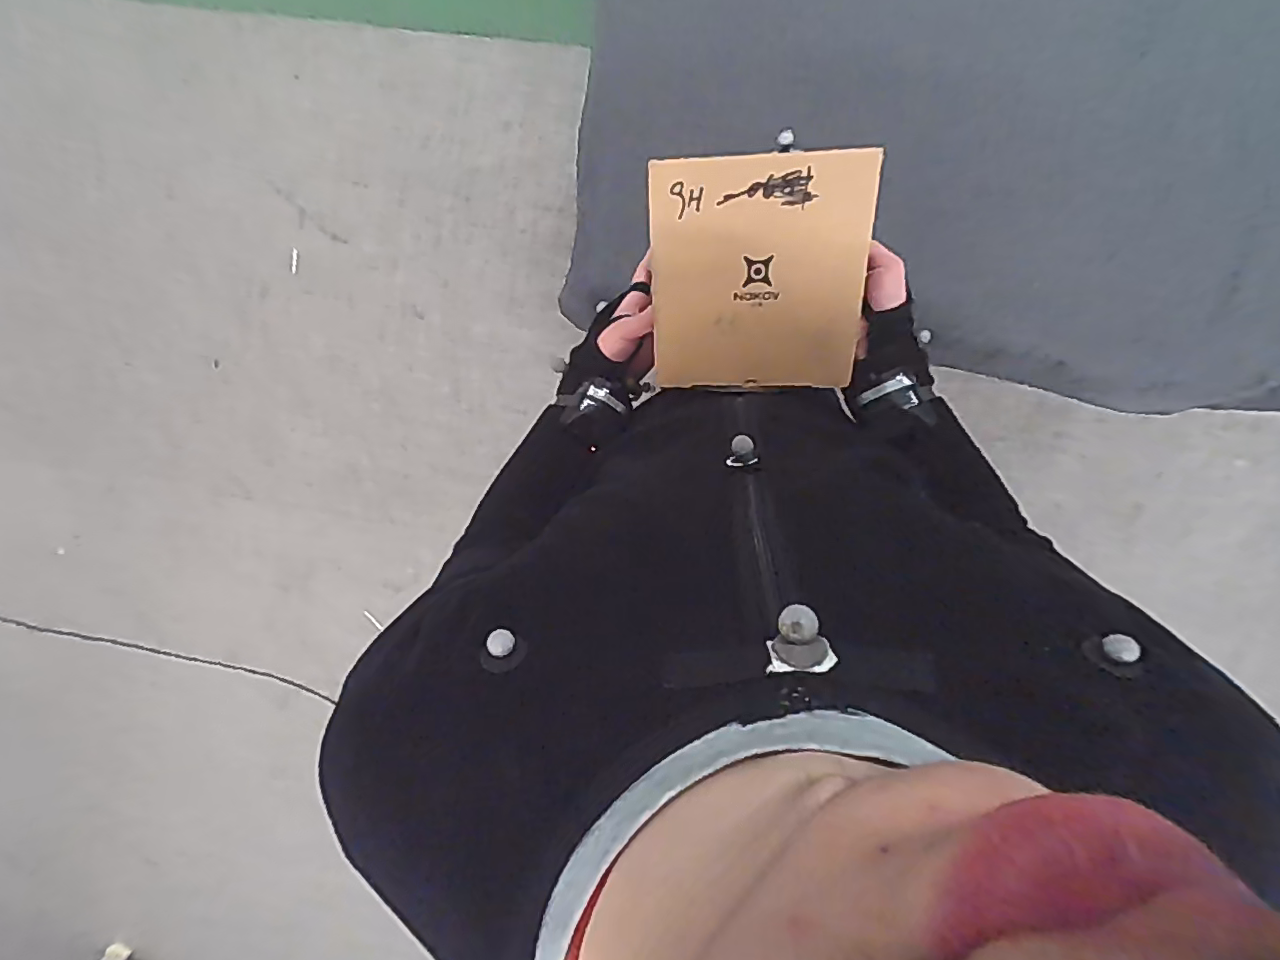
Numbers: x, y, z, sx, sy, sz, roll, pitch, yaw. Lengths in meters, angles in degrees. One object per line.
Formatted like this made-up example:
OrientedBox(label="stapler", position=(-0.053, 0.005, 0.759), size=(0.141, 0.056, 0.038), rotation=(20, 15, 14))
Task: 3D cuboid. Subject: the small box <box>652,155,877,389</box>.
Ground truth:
OrientedBox(label="small box", position=(0.100, -0.199, 0.506), size=(0.168, 0.176, 0.179), rotation=(1, 121, 6))
